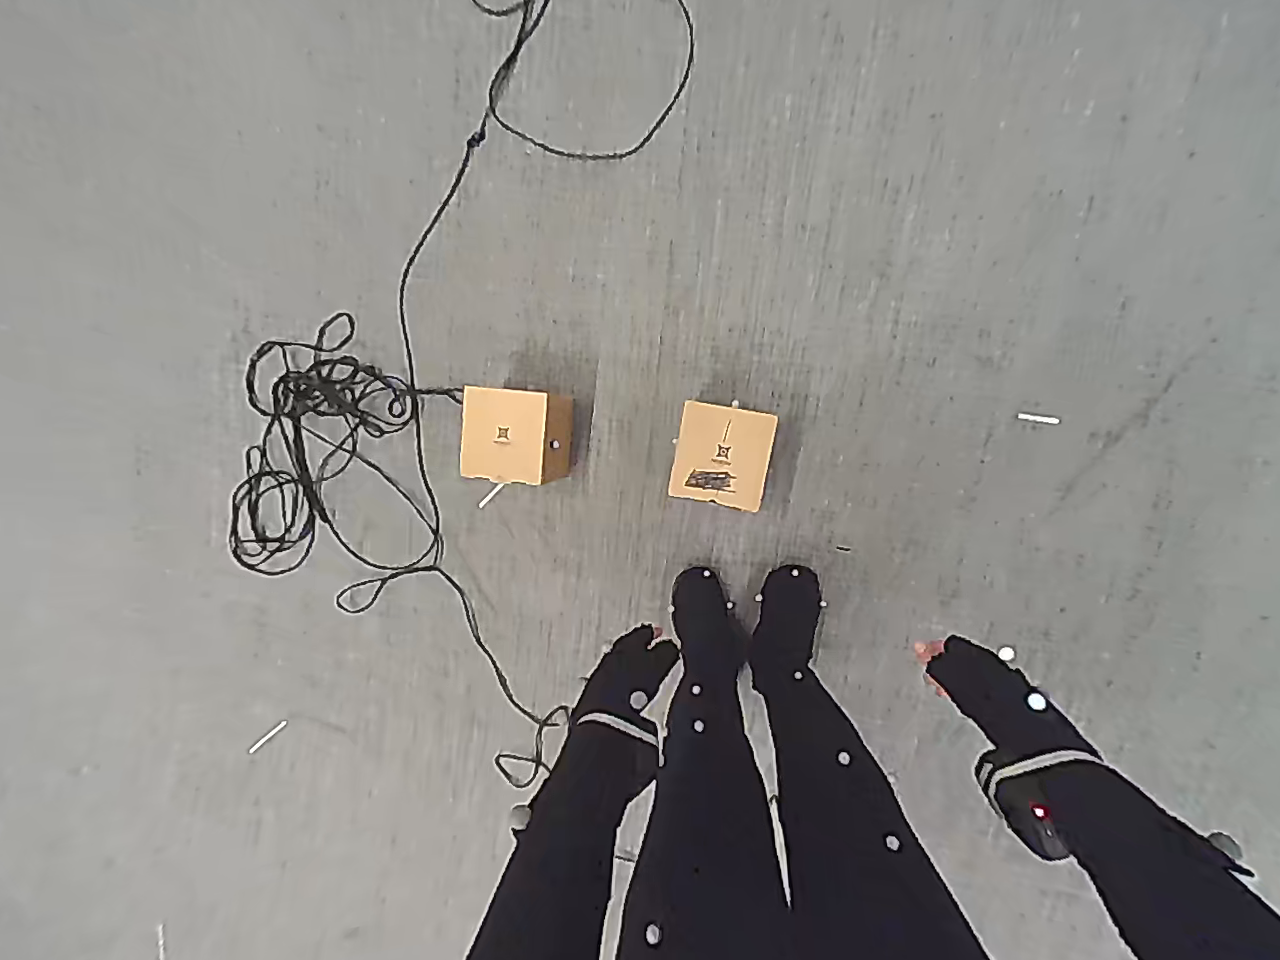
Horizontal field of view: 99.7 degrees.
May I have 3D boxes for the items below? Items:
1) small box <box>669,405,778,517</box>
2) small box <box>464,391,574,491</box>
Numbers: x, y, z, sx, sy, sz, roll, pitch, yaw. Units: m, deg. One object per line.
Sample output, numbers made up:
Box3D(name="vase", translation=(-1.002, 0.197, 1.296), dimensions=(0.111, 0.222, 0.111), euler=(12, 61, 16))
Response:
Box3D(name="small box", translation=(0.159, -0.042, 1.029), dimensions=(0.168, 0.176, 0.179), euler=(11, 98, 9))
Box3D(name="small box", translation=(-0.237, -0.081, 1.093), dimensions=(0.168, 0.176, 0.179), euler=(6, 98, 9))
